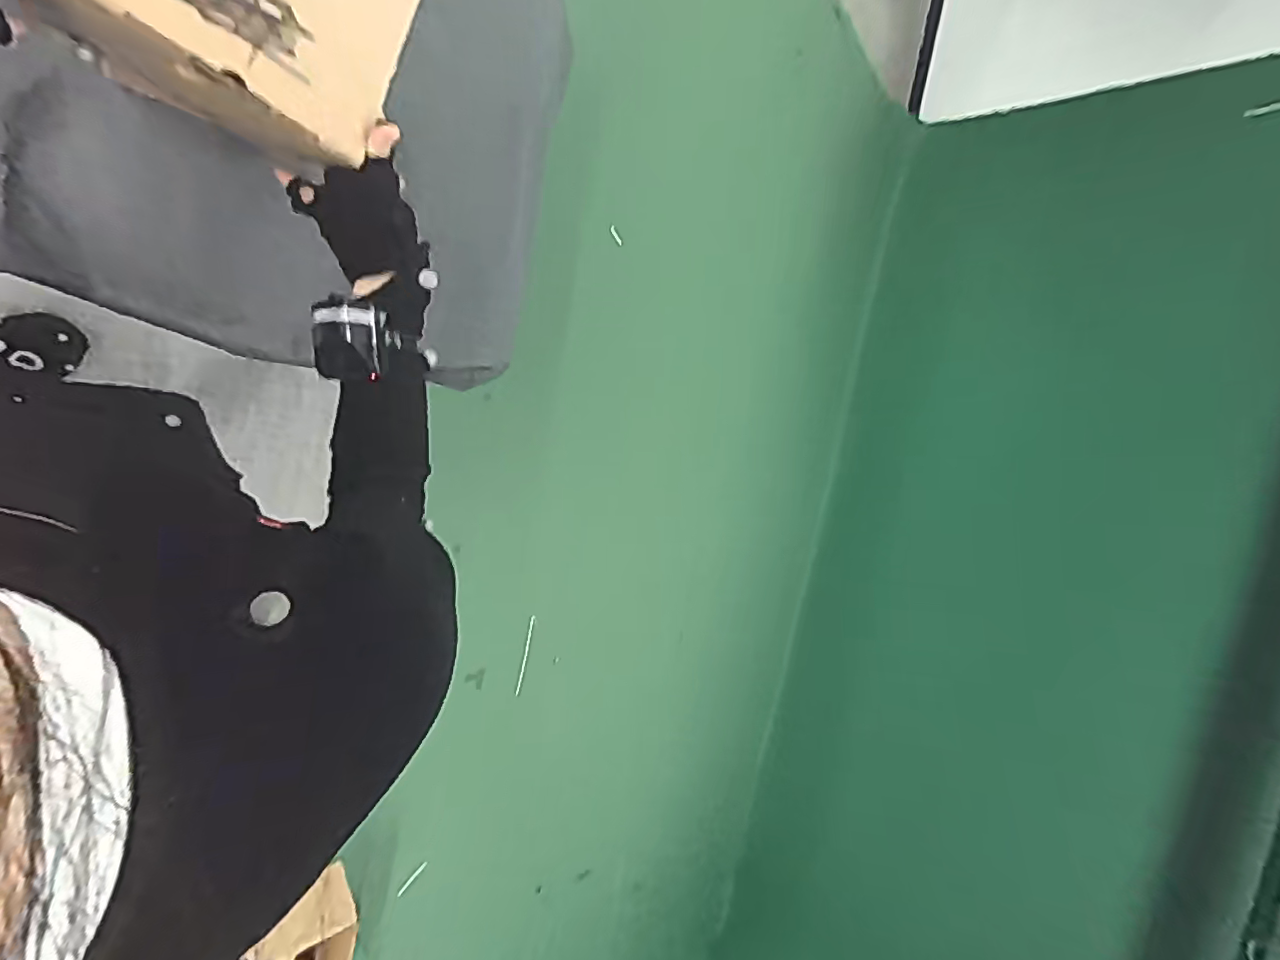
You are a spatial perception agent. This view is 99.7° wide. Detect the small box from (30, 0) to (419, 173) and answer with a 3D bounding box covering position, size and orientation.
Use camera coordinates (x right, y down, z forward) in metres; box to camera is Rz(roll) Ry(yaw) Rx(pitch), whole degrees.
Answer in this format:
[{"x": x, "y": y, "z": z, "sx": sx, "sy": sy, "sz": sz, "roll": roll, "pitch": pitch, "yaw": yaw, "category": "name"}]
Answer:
[{"x": -0.285, "y": -0.350, "z": 0.378, "sx": 0.168, "sy": 0.176, "sz": 0.179, "roll": 16, "pitch": 99, "yaw": -56, "category": "small box"}]
